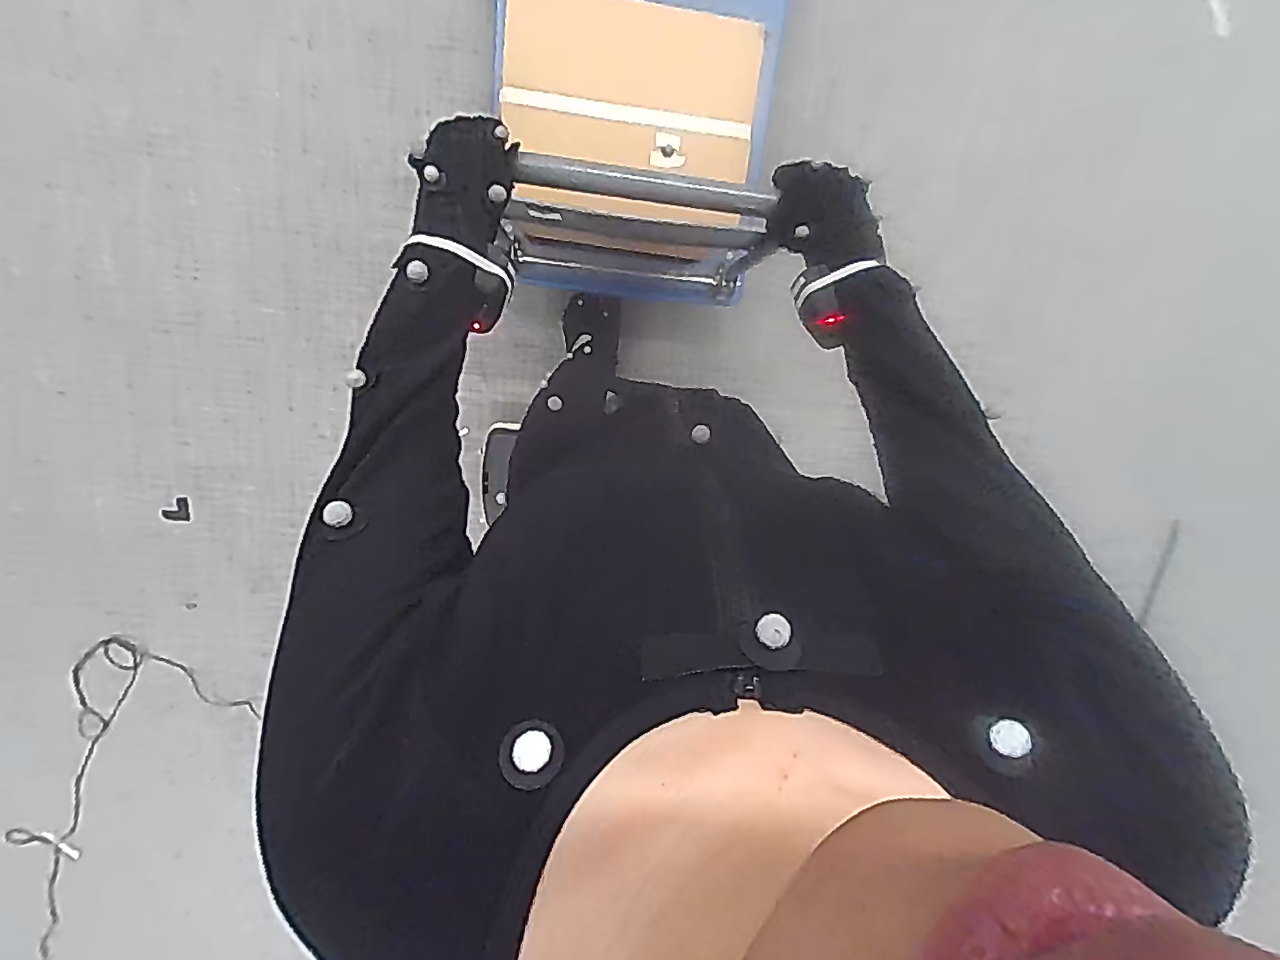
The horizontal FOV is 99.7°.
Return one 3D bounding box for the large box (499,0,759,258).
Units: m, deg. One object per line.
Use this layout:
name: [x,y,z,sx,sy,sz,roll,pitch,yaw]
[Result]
large box: [-0.037,-0.617,1.009,0.408,0.320,0.320,5,105,-7]
